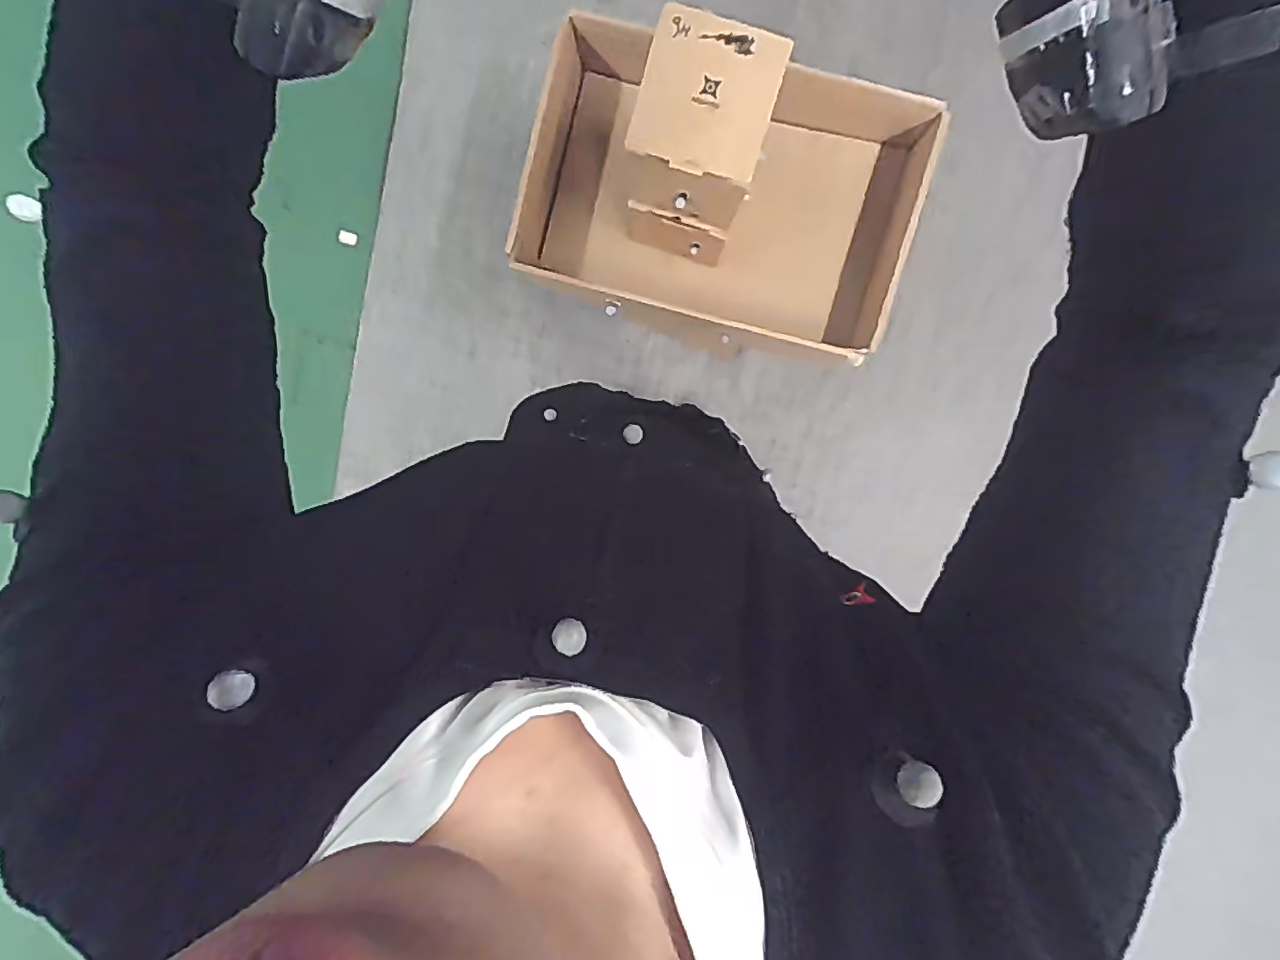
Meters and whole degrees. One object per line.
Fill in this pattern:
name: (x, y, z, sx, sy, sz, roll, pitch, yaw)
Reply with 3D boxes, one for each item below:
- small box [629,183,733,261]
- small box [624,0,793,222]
small box: (0.087, -0.491, 0.903, 0.168, 0.176, 0.179, 17, 95, -1)
small box: (0.086, -0.481, 0.739, 0.168, 0.176, 0.179, 17, 98, -1)
